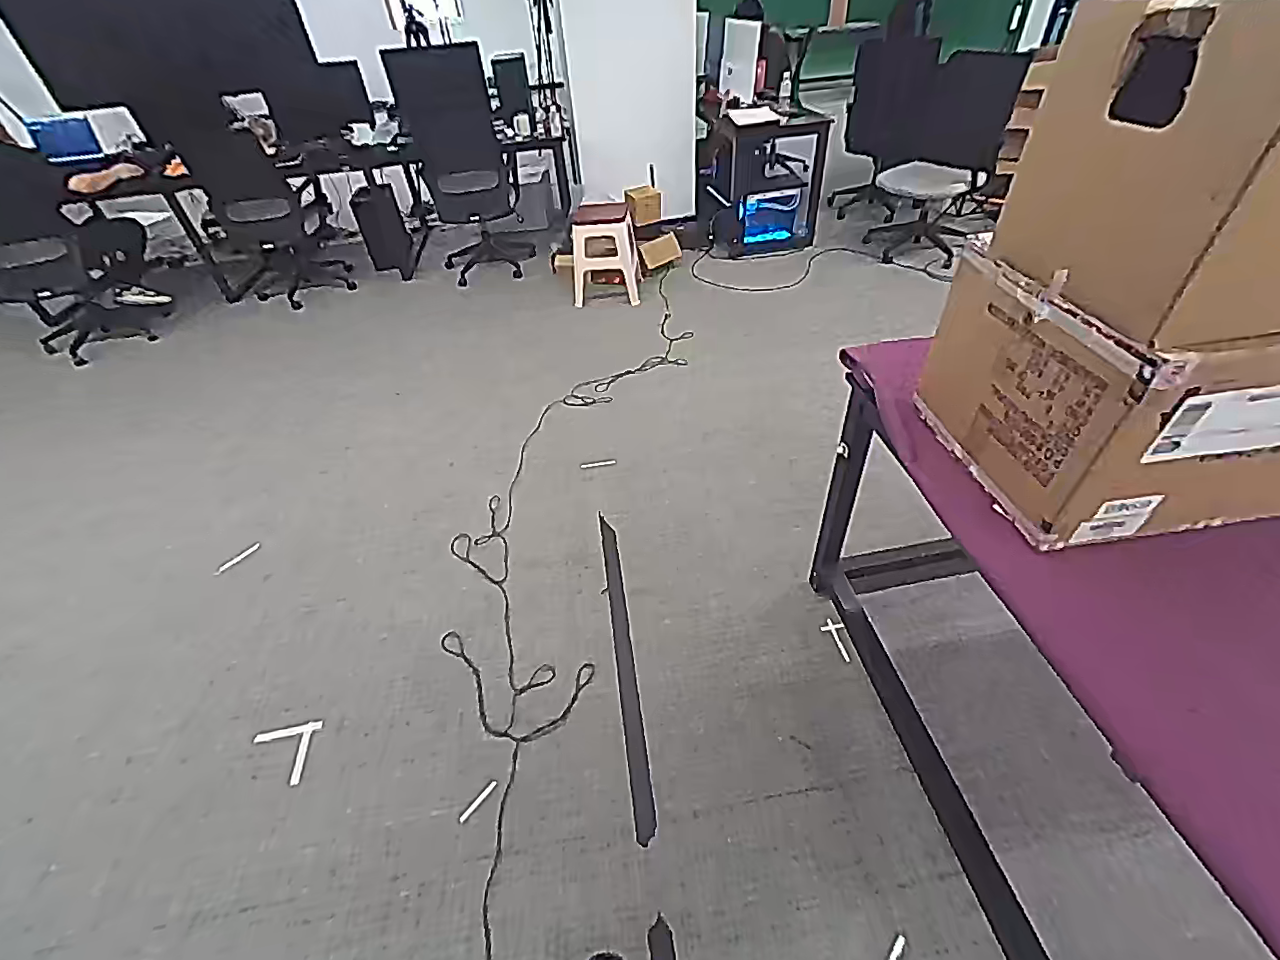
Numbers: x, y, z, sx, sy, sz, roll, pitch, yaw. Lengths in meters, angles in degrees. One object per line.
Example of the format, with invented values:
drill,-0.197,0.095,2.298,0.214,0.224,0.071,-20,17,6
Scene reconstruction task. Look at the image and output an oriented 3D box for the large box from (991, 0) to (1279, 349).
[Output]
large box,0.745,-0.388,0.641,0.408,0.320,0.320,-9,41,-4
